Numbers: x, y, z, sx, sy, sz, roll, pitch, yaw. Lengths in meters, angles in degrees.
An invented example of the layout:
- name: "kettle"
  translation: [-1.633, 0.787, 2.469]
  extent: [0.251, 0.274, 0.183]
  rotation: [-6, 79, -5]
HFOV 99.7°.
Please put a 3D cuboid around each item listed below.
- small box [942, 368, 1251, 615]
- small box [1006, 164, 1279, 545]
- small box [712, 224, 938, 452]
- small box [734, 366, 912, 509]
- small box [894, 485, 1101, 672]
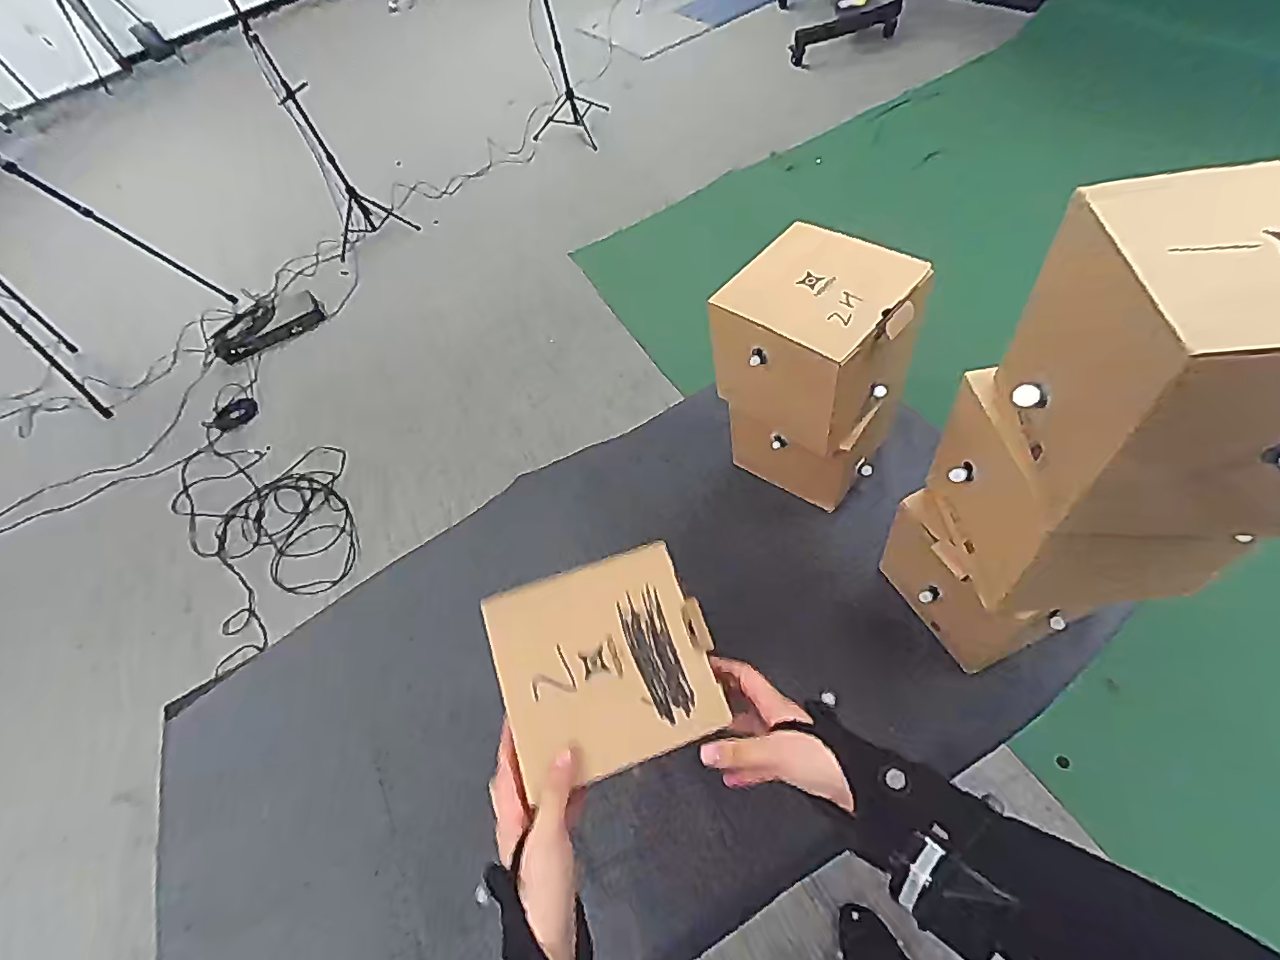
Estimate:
- name: "small box"
  translation: [0.395, 0.009, 0.483]
  extent: [0.179, 0.176, 0.168]
  rotation: [-9, 52, 8]
- name: "small box"
  translation: [0.371, -0.070, 0.339]
  extent: [0.179, 0.176, 0.168]
  rotation: [-1, 54, 14]
- name: "small box"
  translation: [0.209, -0.163, 0.644]
  extent: [0.168, 0.176, 0.179]
  rotation: [-44, 60, -14]
- name: "small box"
  translation: [0.255, -0.085, 0.783]
  extent: [0.179, 0.176, 0.168]
  rotation: [30, 70, 26]
- name: "small box"
  translation: [0.418, 0.094, 0.622]
  extent: [0.179, 0.176, 0.168]
  rotation: [-26, 52, -4]
